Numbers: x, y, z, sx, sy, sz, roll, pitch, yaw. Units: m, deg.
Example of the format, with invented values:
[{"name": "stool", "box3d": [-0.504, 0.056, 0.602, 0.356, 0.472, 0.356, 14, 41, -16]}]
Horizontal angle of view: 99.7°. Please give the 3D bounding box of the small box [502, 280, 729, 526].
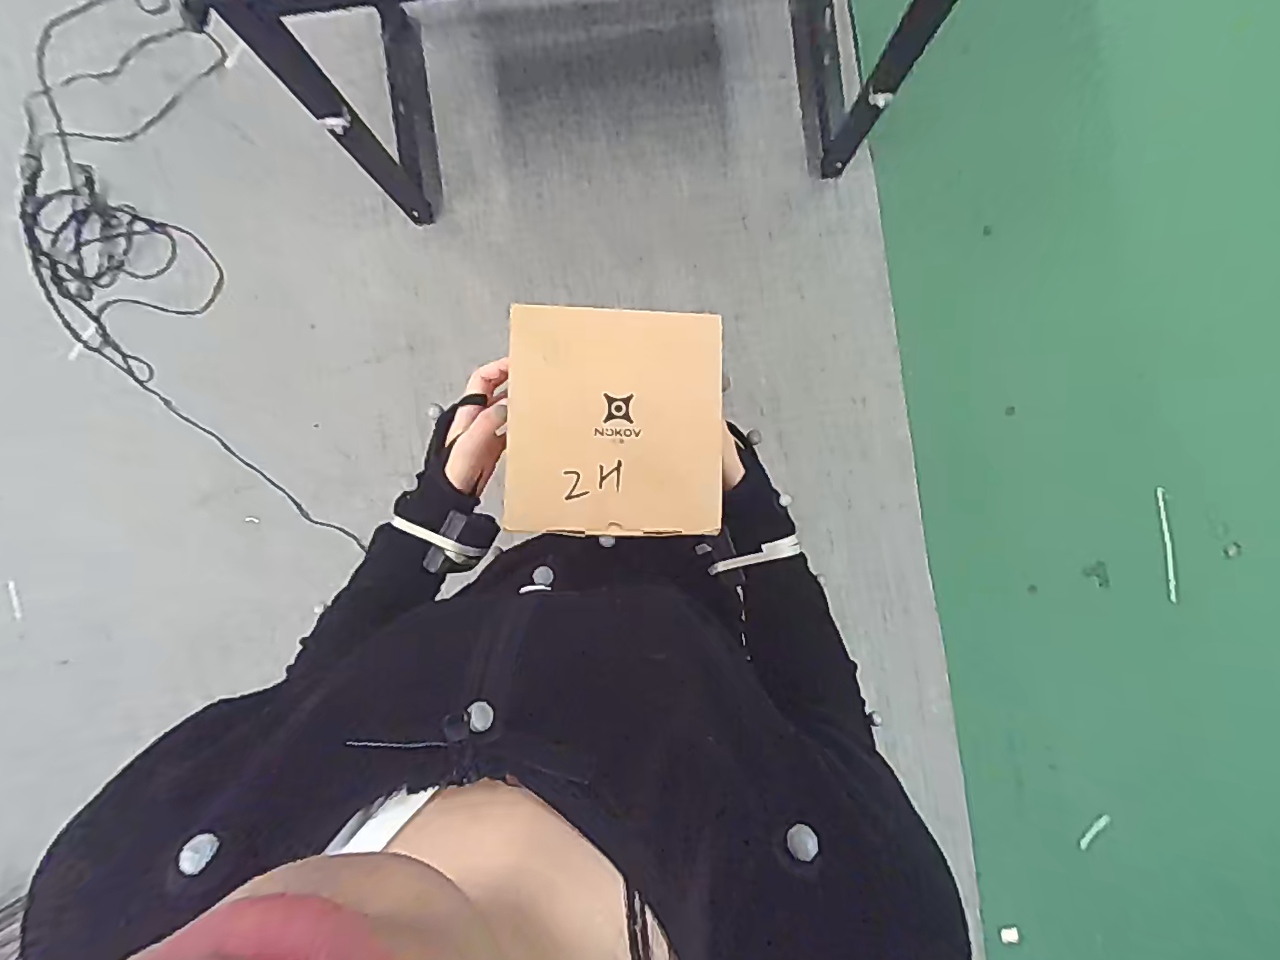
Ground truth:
[{"name": "small box", "box3d": [-0.024, -0.050, 0.474, 0.168, 0.176, 0.179, 1, 85, -6]}]
